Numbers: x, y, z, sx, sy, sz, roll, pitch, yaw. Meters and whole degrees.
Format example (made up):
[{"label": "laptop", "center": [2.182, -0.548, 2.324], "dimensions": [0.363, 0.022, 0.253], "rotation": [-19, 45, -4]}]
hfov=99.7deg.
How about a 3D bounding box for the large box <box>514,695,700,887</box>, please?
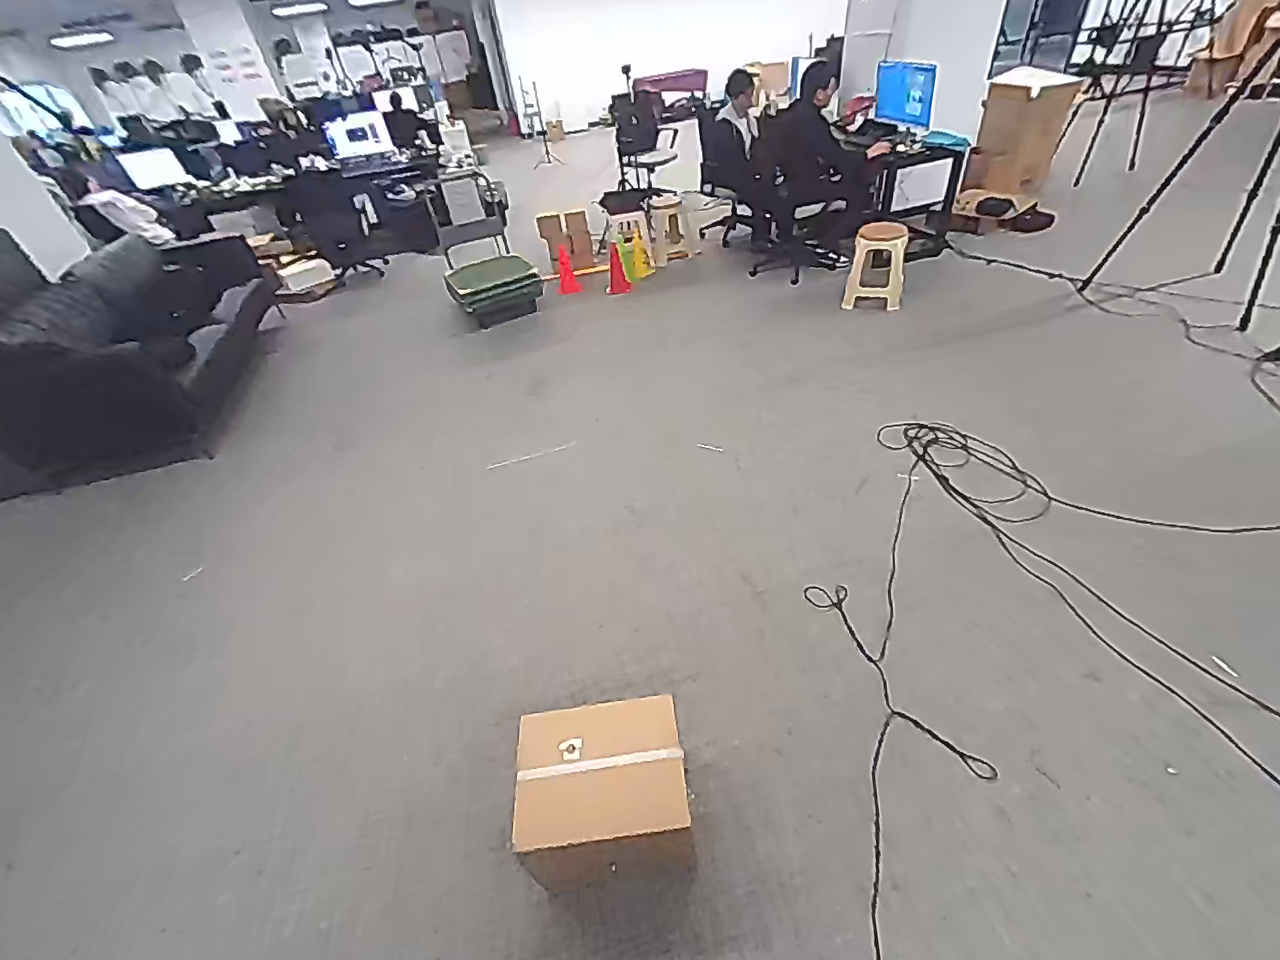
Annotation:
[{"label": "large box", "center": [-0.076, 0.801, 1.393], "dimensions": [0.408, 0.320, 0.320], "rotation": [-9, 40, 1]}]
